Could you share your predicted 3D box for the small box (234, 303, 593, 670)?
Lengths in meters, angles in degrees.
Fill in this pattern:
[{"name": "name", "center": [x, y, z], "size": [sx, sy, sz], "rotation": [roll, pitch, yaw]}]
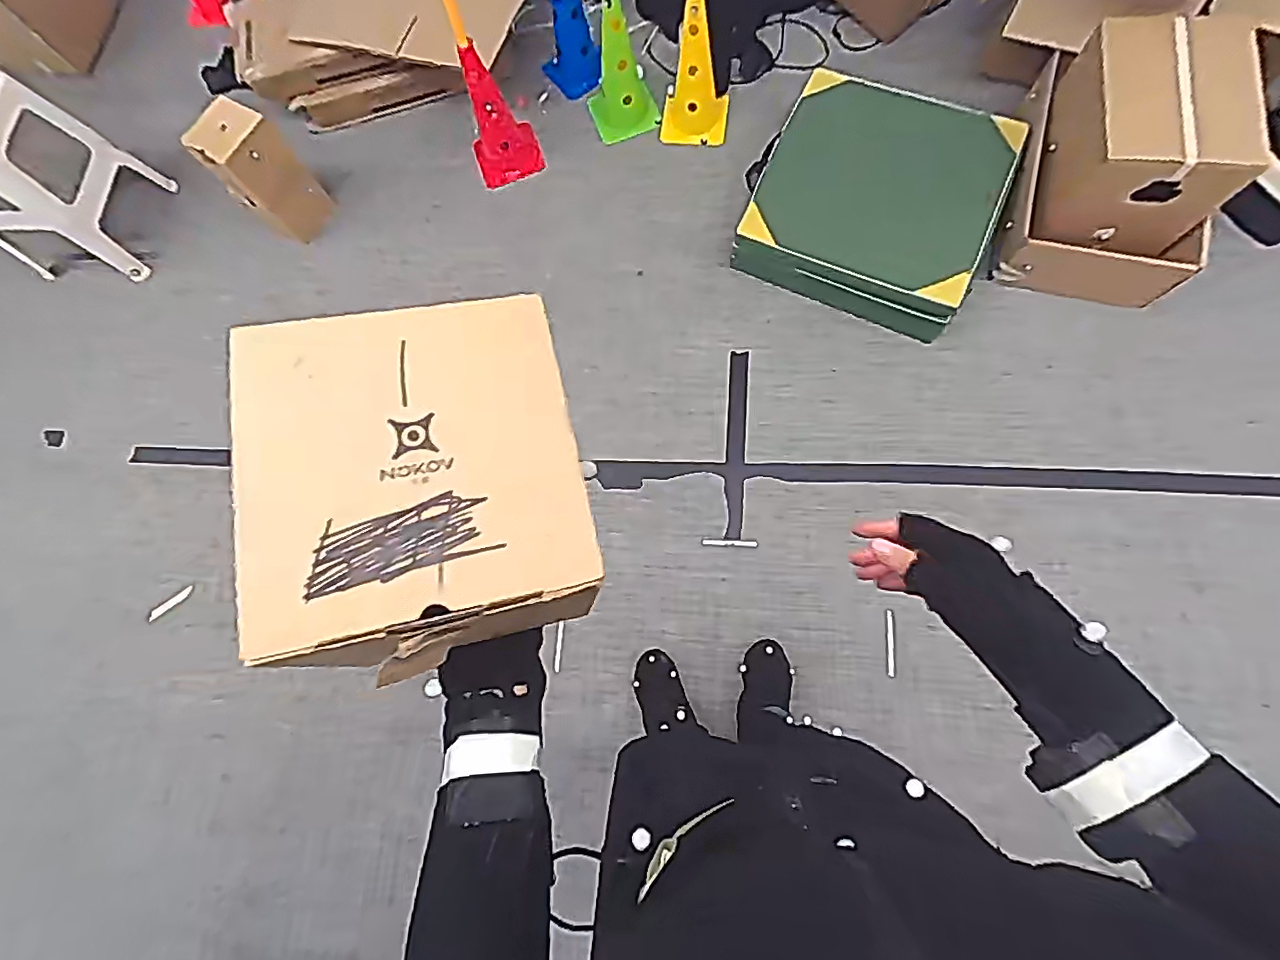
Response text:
[{"name": "small box", "center": [-0.129, 0.016, 0.355], "size": [0.168, 0.176, 0.179], "rotation": [-11, 72, -12]}]
